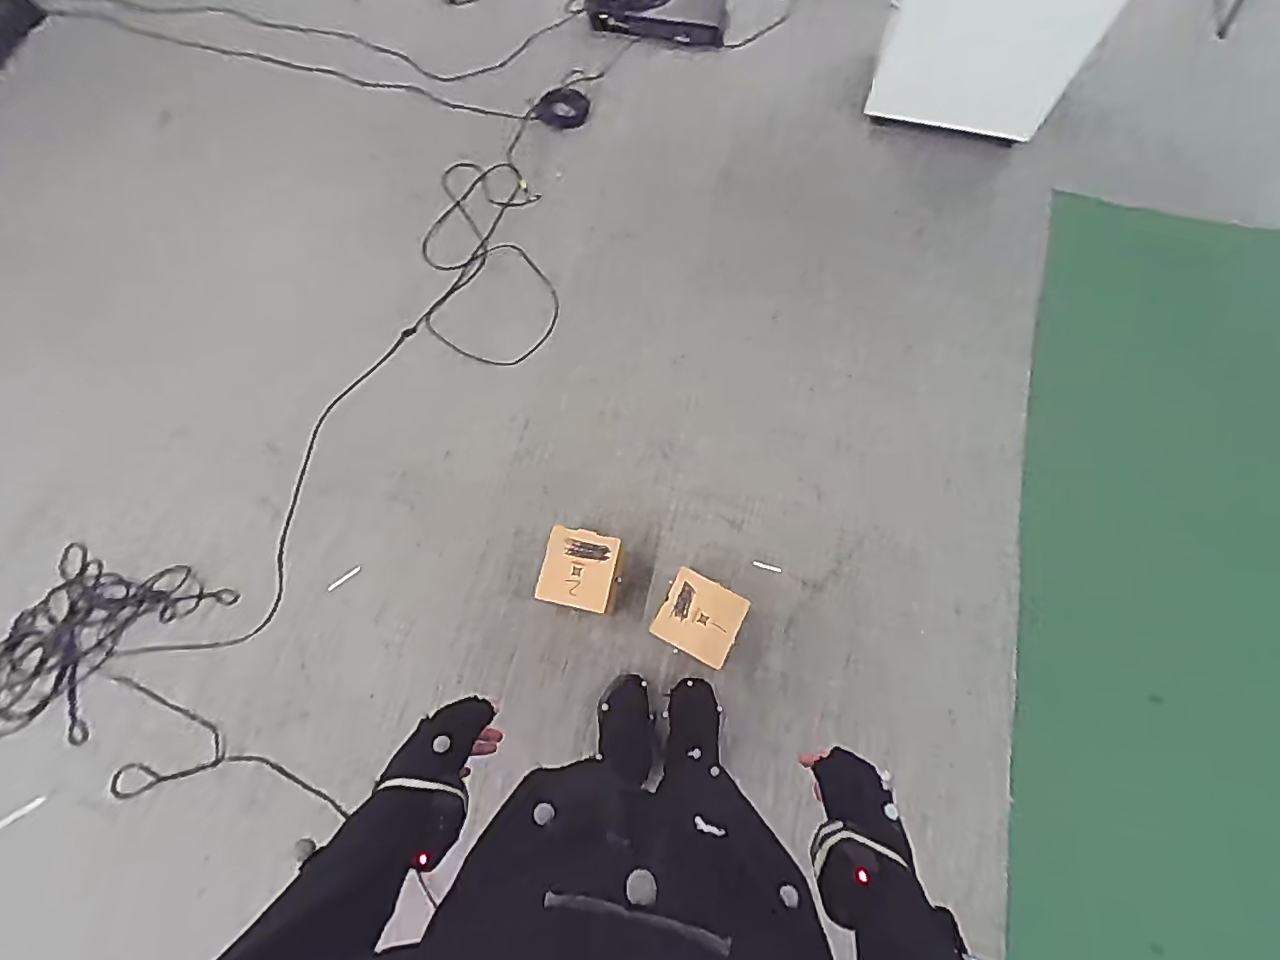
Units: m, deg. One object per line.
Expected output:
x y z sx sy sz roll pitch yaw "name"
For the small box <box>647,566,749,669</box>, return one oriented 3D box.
0.130 0.324 1.265 0.179 0.176 0.168 27 76 9 "small box"
